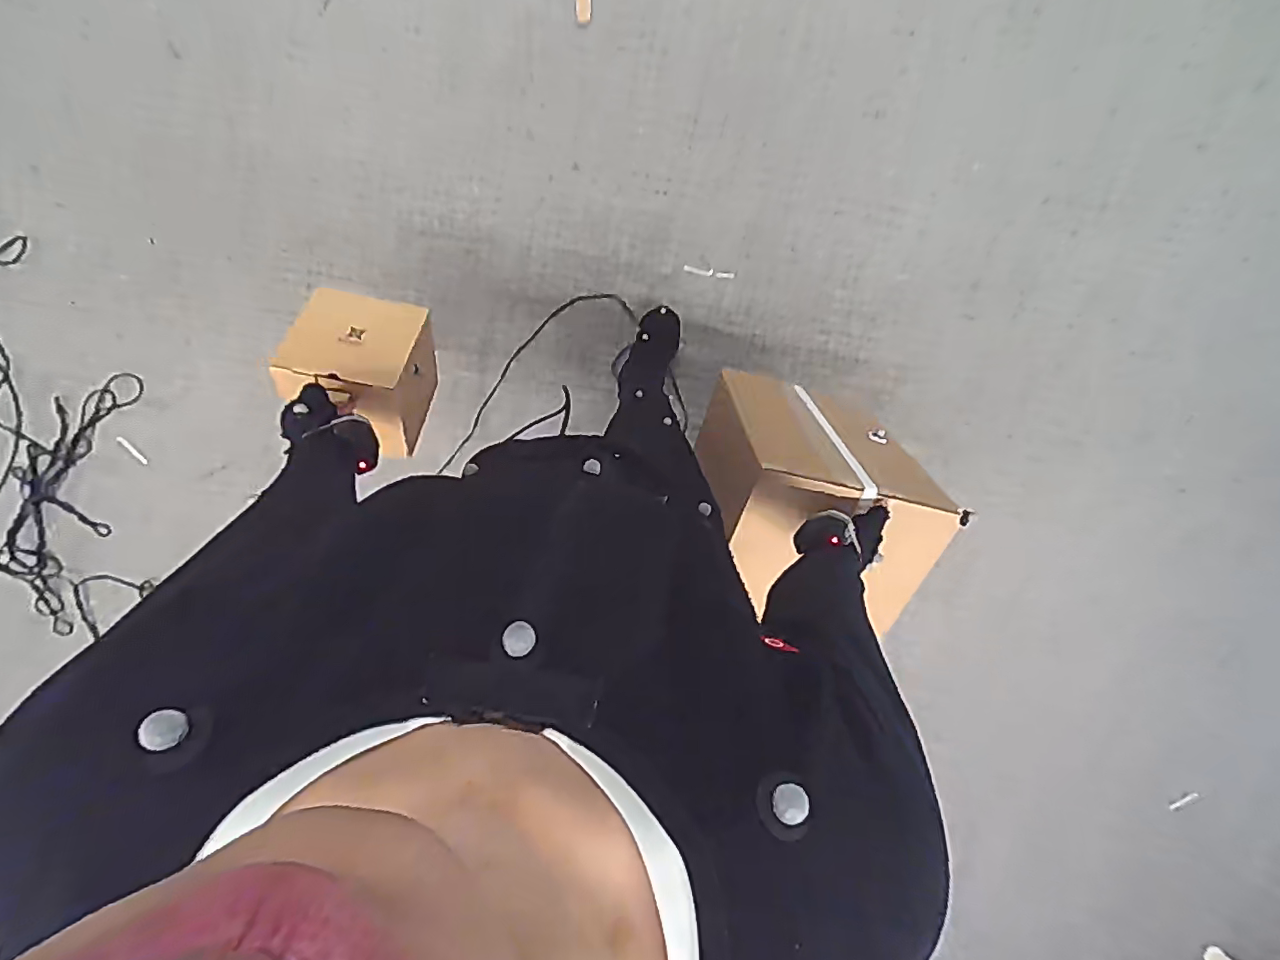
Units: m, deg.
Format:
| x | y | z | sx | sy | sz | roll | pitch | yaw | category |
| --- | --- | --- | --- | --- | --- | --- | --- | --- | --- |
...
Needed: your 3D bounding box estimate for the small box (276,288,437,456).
| x | y | z | sx | sy | sz | roll | pitch | yaw | category |
| --- | --- | --- | --- | --- | --- | --- | --- | --- | --- |
| -0.426 | -0.165 | 0.852 | 0.168 | 0.176 | 0.179 | 9 | 54 | -8 | small box |
